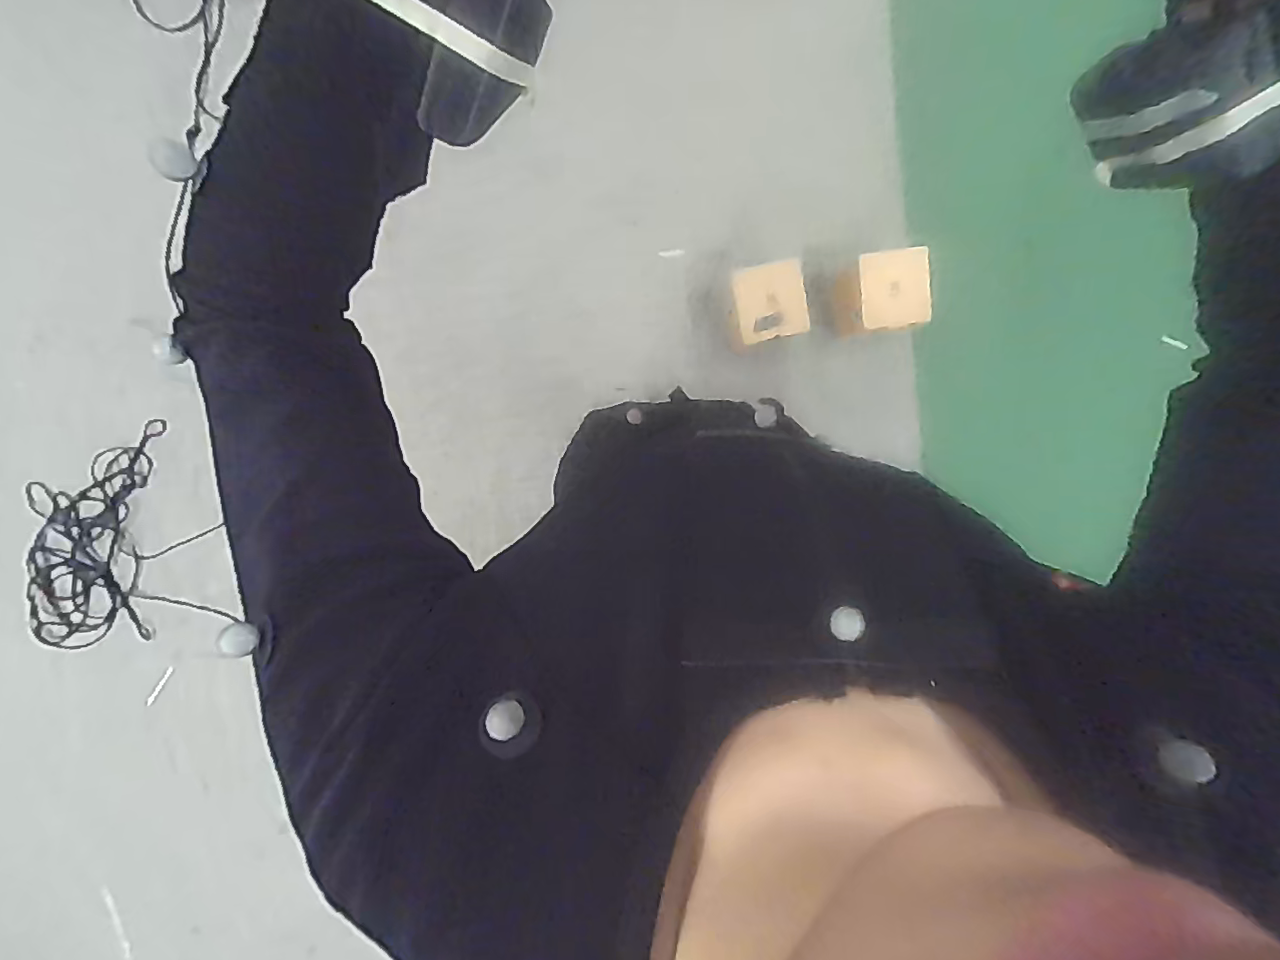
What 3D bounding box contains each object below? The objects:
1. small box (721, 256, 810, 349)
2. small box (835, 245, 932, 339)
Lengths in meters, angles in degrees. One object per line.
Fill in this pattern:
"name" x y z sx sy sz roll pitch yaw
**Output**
"small box" 0.304 -0.428 1.338 0.168 0.176 0.179 -11 96 0
"small box" 0.596 -0.459 1.340 0.168 0.176 0.179 -7 97 1
